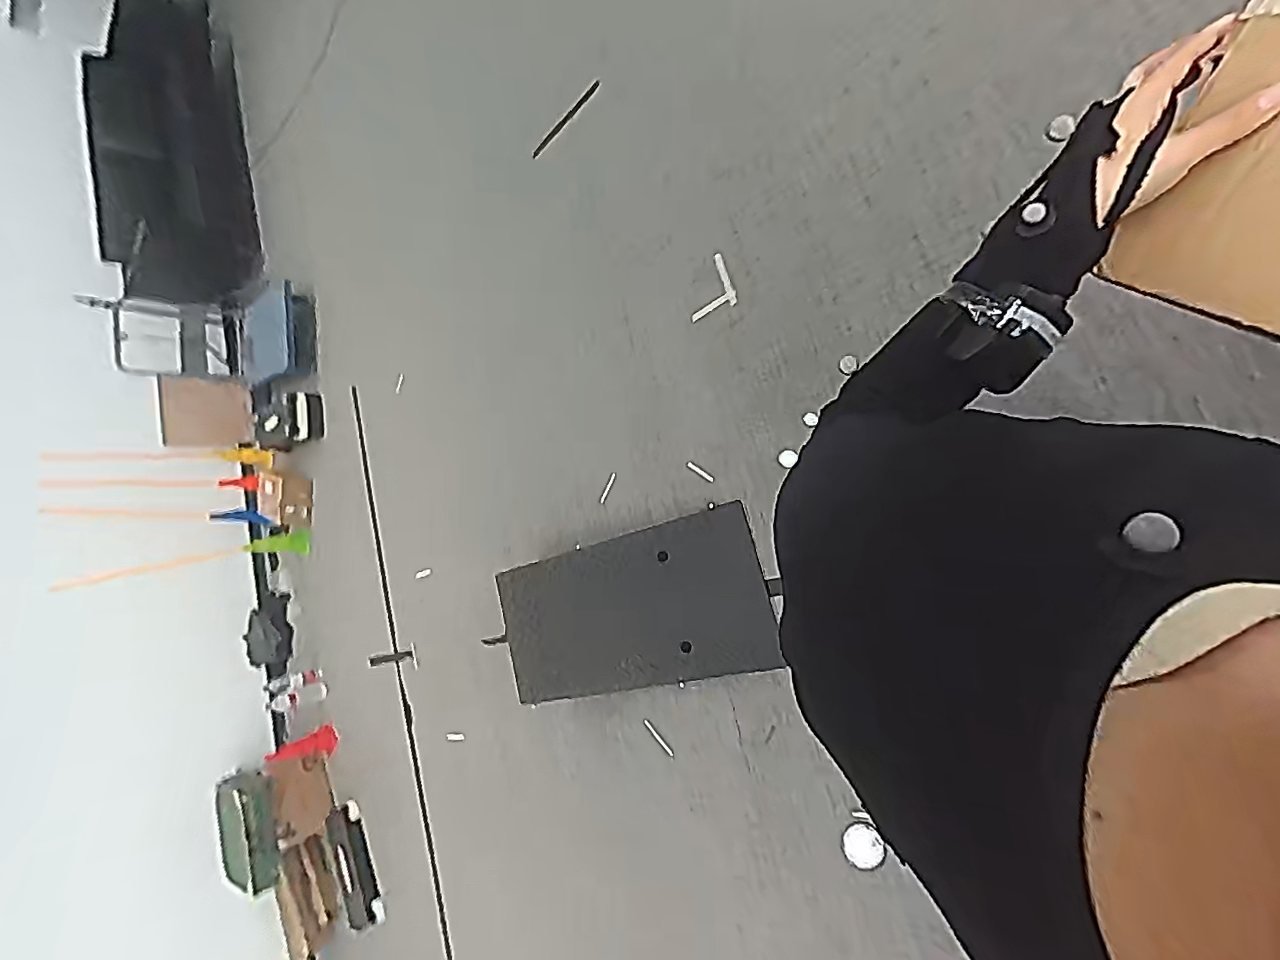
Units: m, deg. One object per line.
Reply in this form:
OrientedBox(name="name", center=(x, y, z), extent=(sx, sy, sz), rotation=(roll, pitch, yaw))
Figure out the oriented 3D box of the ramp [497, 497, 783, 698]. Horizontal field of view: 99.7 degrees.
OrientedBox(name="ramp", center=(-0.068, 0.418, 1.785), extent=(0.991, 0.206, 0.509), rotation=(-23, 75, 37))
